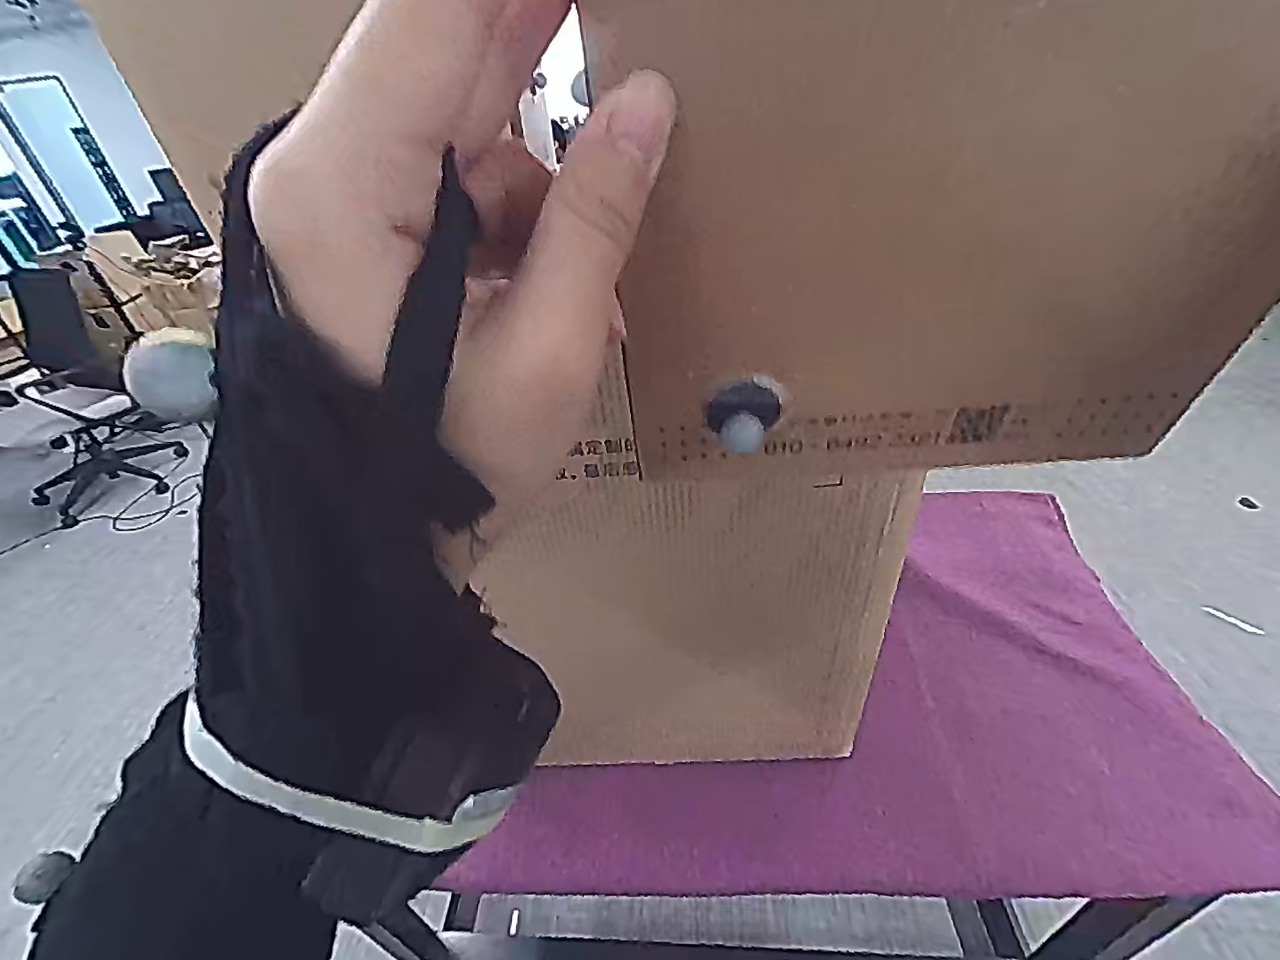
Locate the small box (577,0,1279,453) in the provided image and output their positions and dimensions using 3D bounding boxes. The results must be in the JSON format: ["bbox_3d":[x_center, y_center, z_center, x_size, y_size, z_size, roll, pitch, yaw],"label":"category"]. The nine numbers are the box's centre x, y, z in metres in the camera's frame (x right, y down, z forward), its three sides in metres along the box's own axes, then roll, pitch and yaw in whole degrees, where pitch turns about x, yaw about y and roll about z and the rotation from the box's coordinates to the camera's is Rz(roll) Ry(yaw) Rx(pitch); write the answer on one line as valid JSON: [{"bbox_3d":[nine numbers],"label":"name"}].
[{"bbox_3d":[0.075,-0.121,0.176,0.168,0.176,0.179,-3,46,4],"label":"small box"}]
